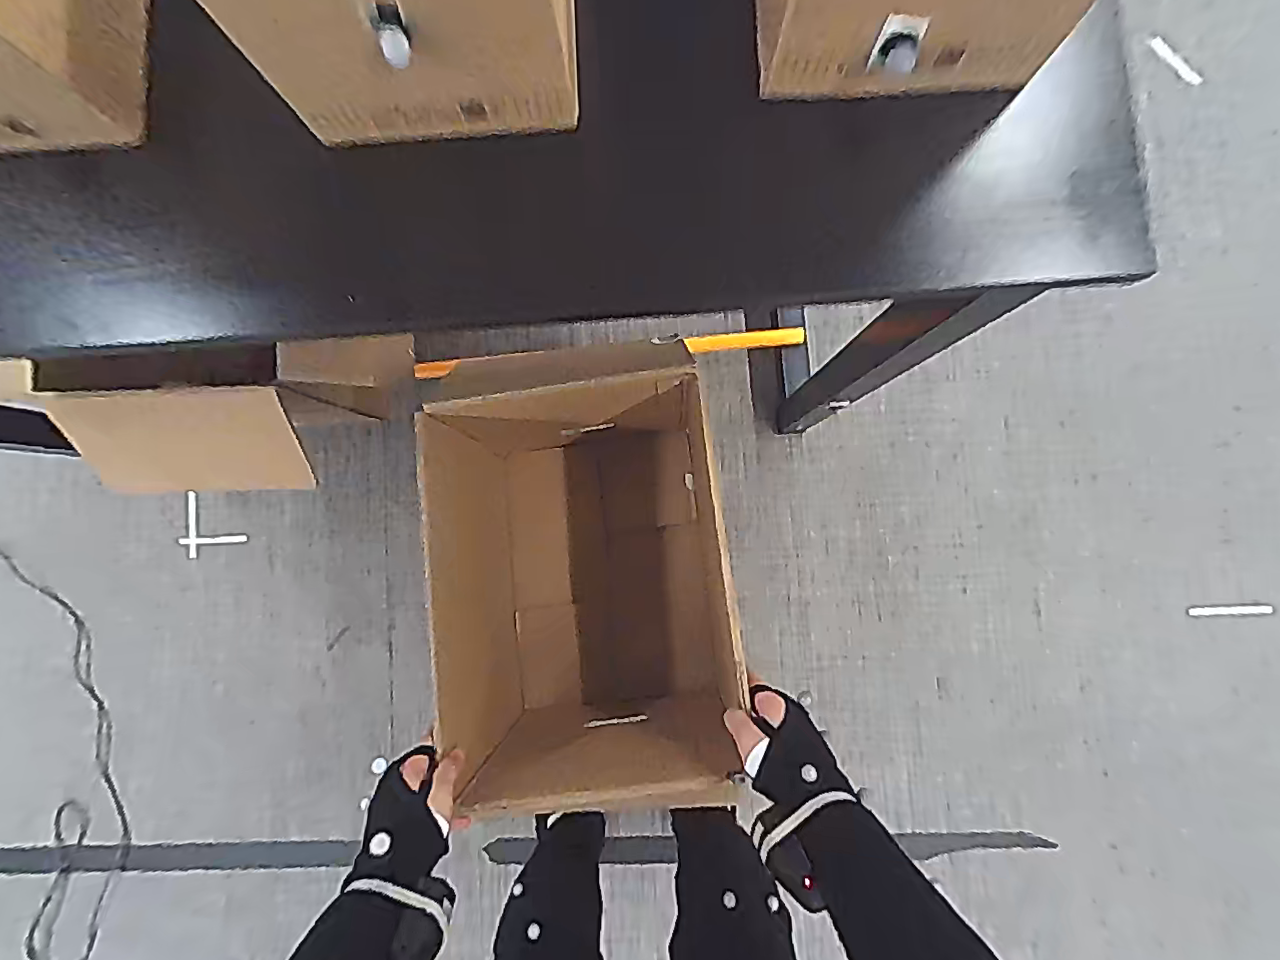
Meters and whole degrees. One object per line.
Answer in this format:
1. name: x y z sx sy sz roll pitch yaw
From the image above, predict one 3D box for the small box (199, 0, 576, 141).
1. small box: -0.127 -0.305 0.277 0.168 0.176 0.179 -3 86 1
